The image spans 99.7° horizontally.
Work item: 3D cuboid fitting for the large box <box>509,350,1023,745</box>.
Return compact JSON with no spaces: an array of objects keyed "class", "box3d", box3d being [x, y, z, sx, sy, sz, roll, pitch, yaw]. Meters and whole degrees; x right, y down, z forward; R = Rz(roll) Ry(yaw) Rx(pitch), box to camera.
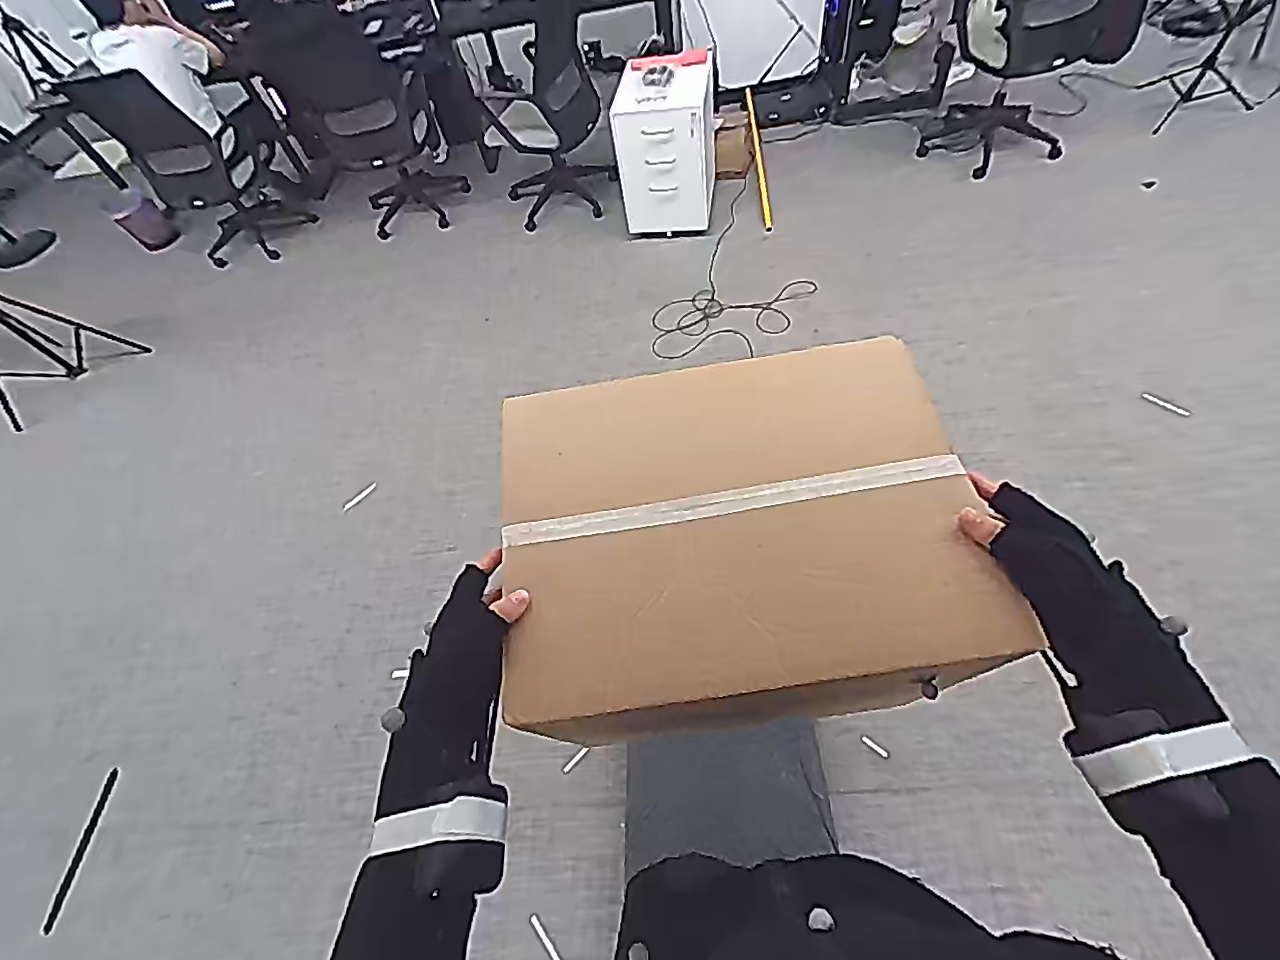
[{"class":"large box","box3d":[0.095,0.099,0.614,0.408,0.320,0.320,-9,60,1]}]
